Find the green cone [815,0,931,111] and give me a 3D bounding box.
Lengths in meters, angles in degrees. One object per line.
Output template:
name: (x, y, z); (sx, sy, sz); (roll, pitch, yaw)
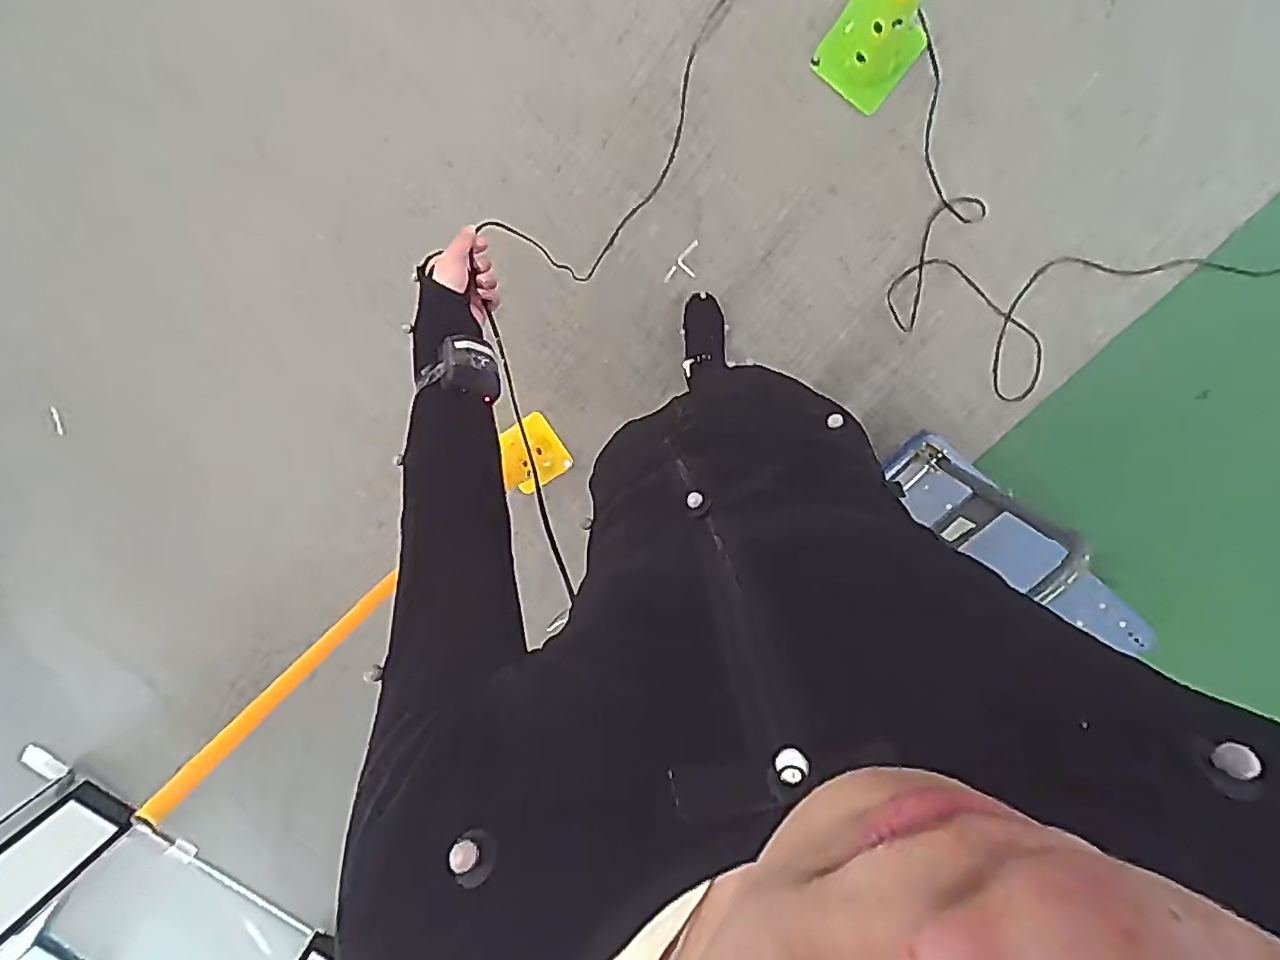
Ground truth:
green cone: (0.521, -0.955, 1.092); (0.200, 0.368, 0.202); (36, 106, -5)
